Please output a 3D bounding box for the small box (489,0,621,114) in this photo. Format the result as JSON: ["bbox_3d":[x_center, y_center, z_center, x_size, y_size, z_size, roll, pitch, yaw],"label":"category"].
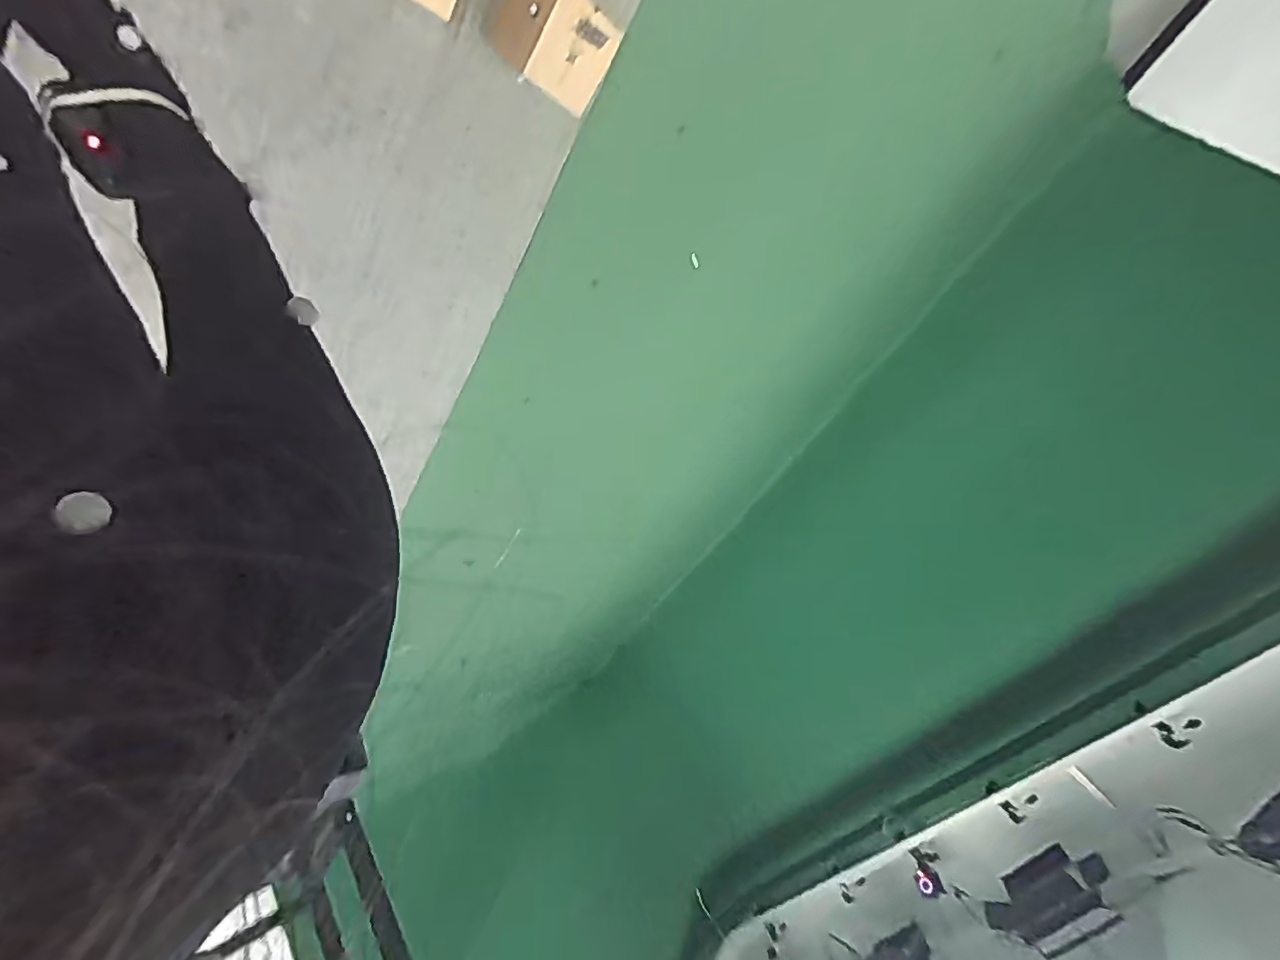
[{"bbox_3d":[-0.178,-0.909,1.101,0.168,0.176,0.179,-1,136,-54],"label":"small box"}]
